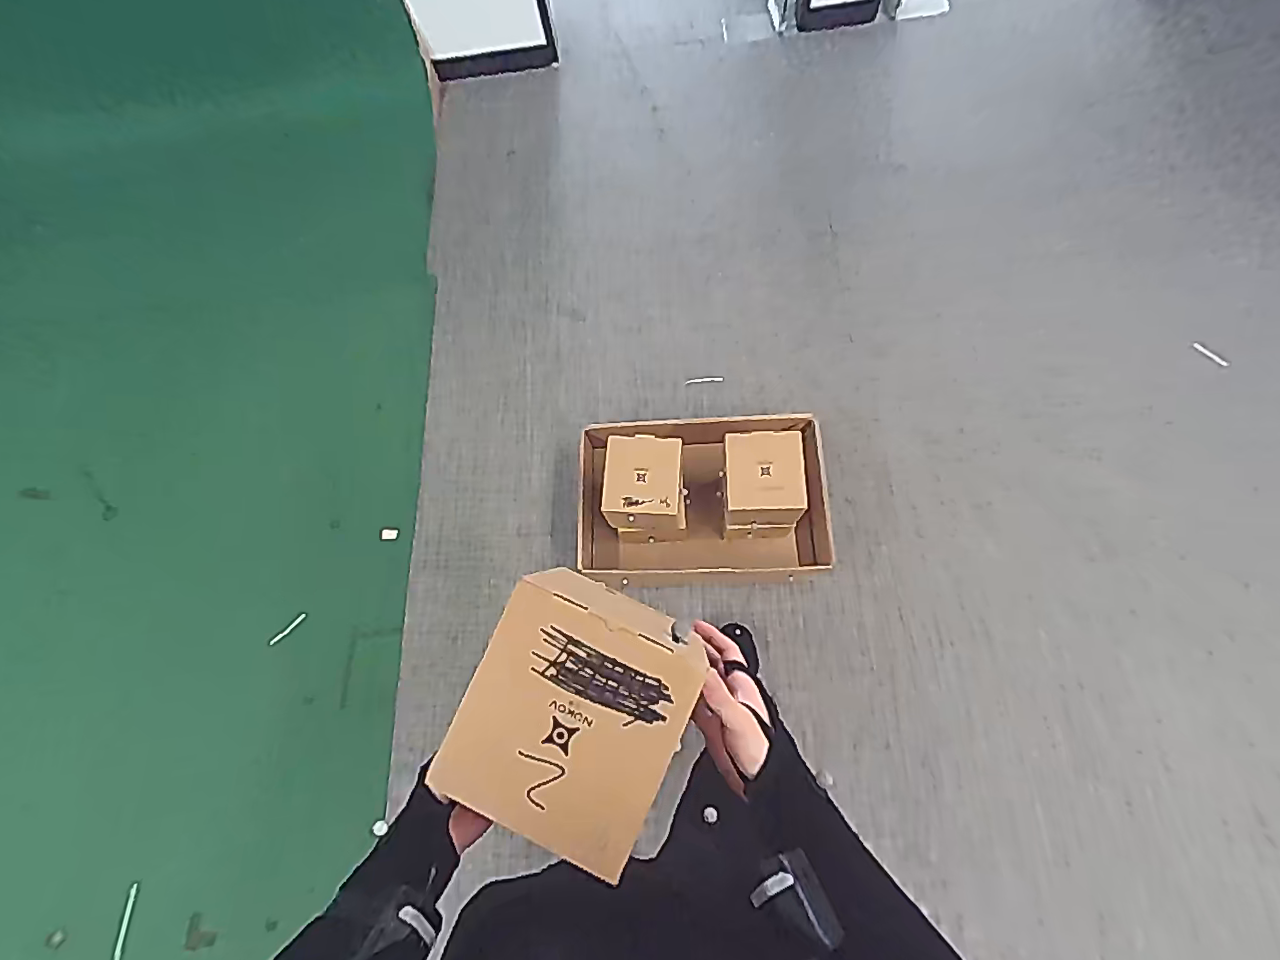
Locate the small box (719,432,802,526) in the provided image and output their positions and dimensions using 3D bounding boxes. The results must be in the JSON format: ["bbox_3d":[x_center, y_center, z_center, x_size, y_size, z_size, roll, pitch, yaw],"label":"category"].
[{"bbox_3d":[0.270,0.002,1.240,0.168,0.176,0.179,-1,73,6],"label":"small box"}]

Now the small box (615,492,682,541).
[{"bbox_3d":[0.024,0.063,1.411,0.168,0.176,0.179,-3,73,2],"label":"small box"}]

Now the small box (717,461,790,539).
[{"bbox_3d":[0.286,0.054,1.393,0.168,0.176,0.179,-3,72,5],"label":"small box"}]

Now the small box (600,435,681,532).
[{"bbox_3d":[0.007,0.012,1.255,0.168,0.176,0.179,3,72,6],"label":"small box"}]
